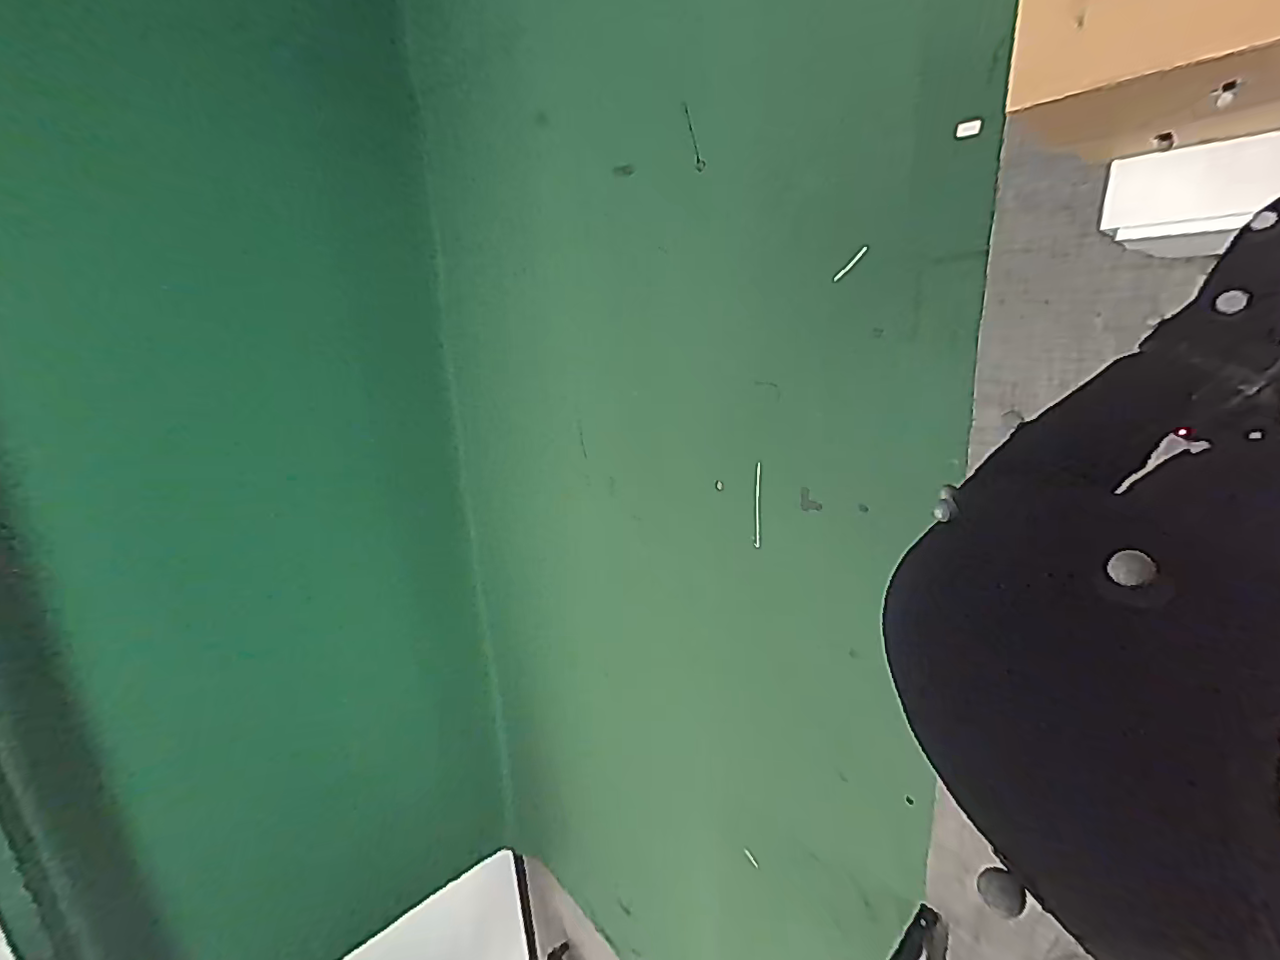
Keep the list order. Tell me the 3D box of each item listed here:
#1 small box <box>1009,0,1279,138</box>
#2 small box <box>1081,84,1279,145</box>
[{"bbox_3d":[0.430,-0.400,0.430,0.179,0.176,0.168,14,112,46],"label":"small box"},{"bbox_3d":[0.548,-0.450,0.530,0.168,0.176,0.179,14,113,44],"label":"small box"}]
